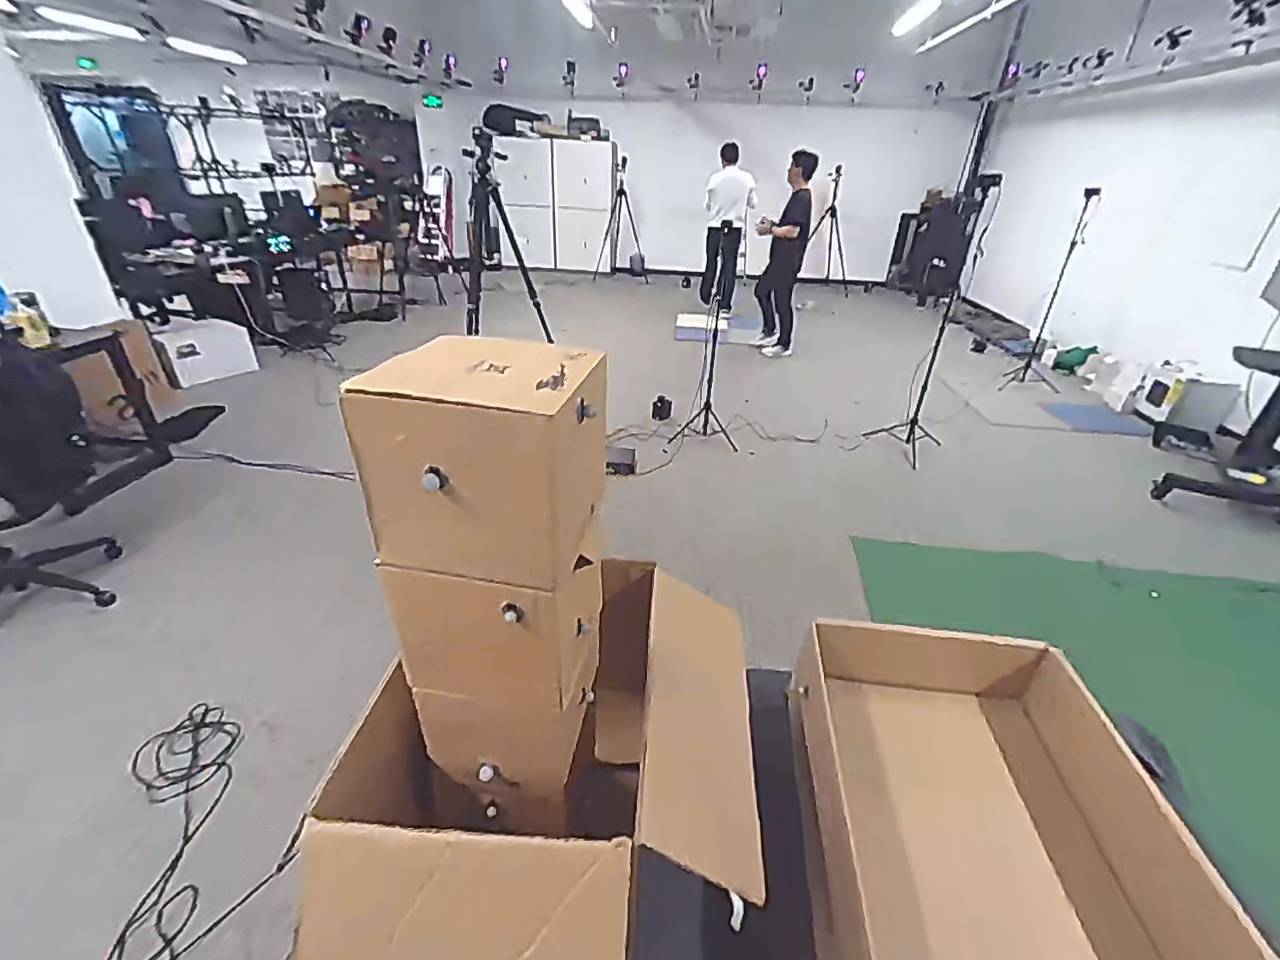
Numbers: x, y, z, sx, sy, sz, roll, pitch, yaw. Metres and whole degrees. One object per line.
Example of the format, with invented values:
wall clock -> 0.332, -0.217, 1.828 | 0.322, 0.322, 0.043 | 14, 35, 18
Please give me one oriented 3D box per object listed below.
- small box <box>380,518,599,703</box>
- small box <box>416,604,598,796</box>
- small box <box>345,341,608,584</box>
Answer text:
small box -> -0.148, 0.118, 0.597 | 0.179, 0.176, 0.168 | 8, 31, 7
small box -> -0.153, 0.256, 0.682 | 0.168, 0.176, 0.179 | 7, 32, 6
small box -> -0.134, -0.022, 0.513 | 0.179, 0.176, 0.168 | 7, 31, 8
